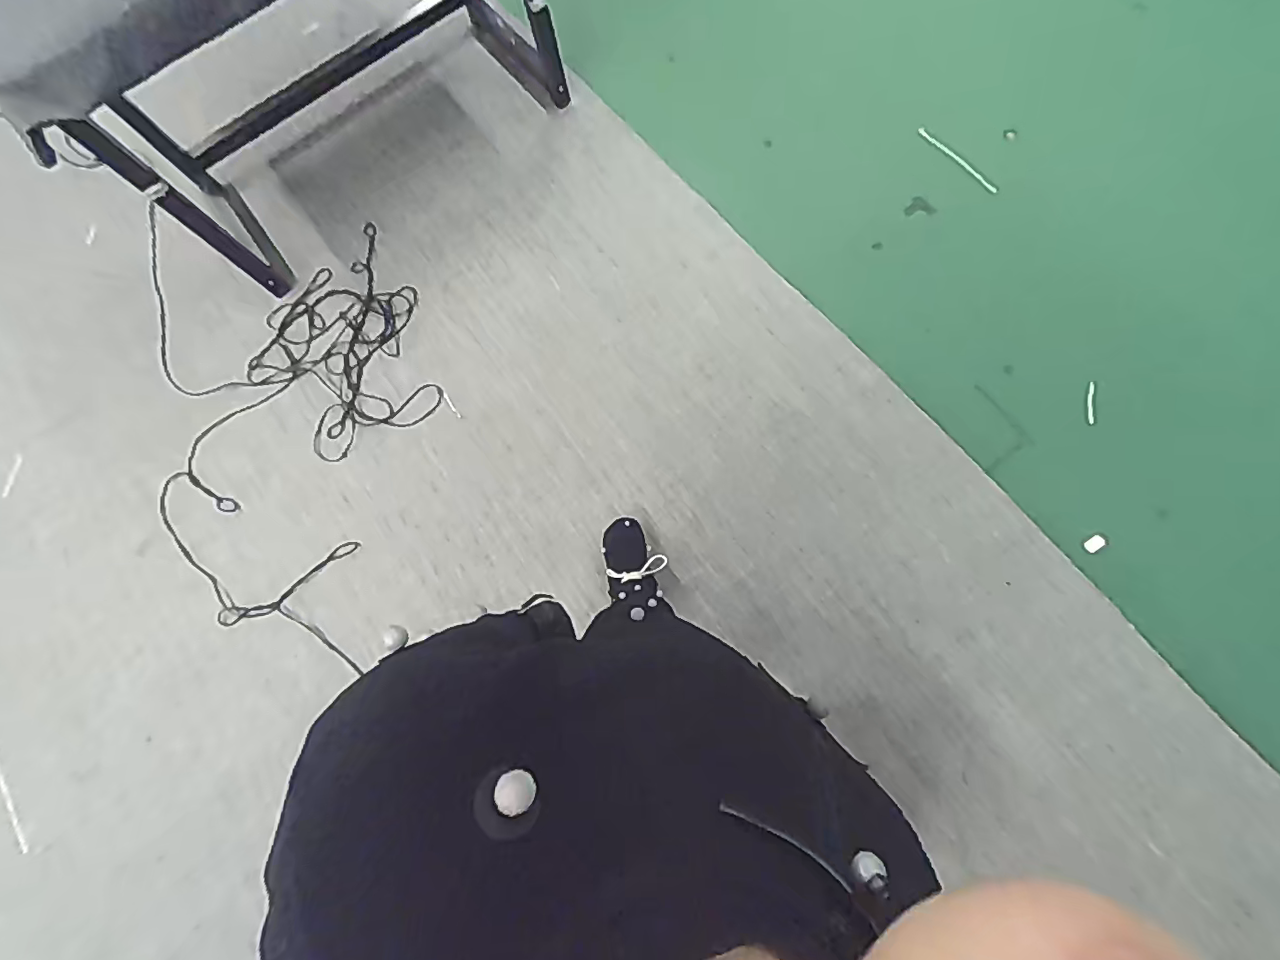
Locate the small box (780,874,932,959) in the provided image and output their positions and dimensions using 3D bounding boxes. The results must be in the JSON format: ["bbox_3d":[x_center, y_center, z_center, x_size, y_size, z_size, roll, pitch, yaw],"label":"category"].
[{"bbox_3d":[0.298,0.649,0.672,0.168,0.176,0.179,-33,73,-3],"label":"small box"}]
